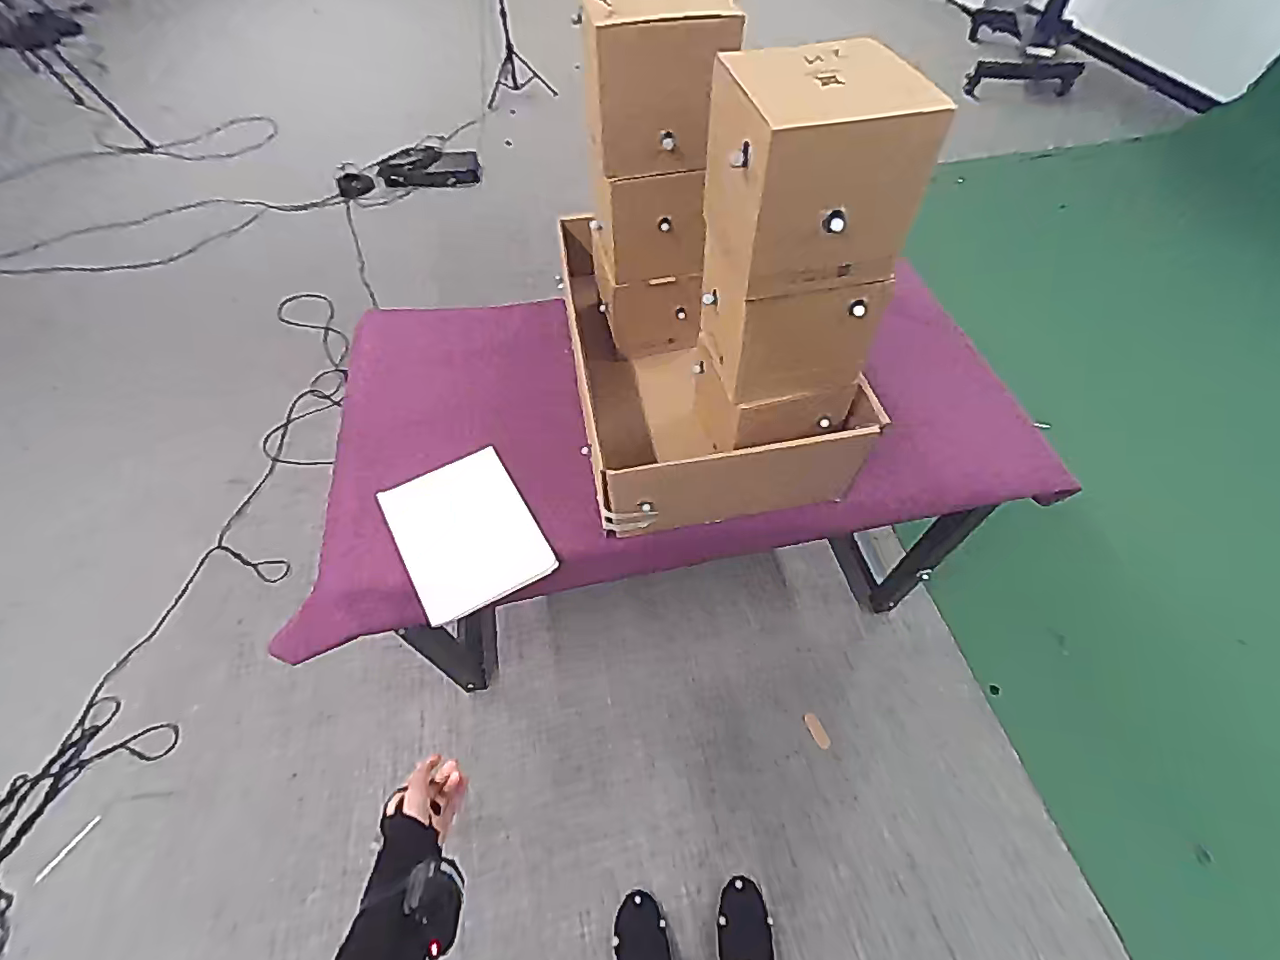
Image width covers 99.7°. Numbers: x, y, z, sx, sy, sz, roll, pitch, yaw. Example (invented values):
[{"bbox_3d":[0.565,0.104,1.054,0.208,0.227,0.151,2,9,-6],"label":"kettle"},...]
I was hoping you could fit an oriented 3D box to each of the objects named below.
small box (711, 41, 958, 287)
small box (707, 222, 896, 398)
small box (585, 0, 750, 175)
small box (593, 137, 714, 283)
[{"bbox_3d":[0.177,-0.318,0.561,0.168,0.176,0.179,-9,54,-5],"label":"small box"},{"bbox_3d":[0.187,-0.224,0.696,0.179,0.176,0.168,-9,55,-5],"label":"small box"},{"bbox_3d":[0.025,-0.529,0.712,0.179,0.176,0.168,-9,57,-7],"label":"small box"},{"bbox_3d":[0.028,-0.436,0.847,0.179,0.176,0.168,-12,57,-7],"label":"small box"}]
